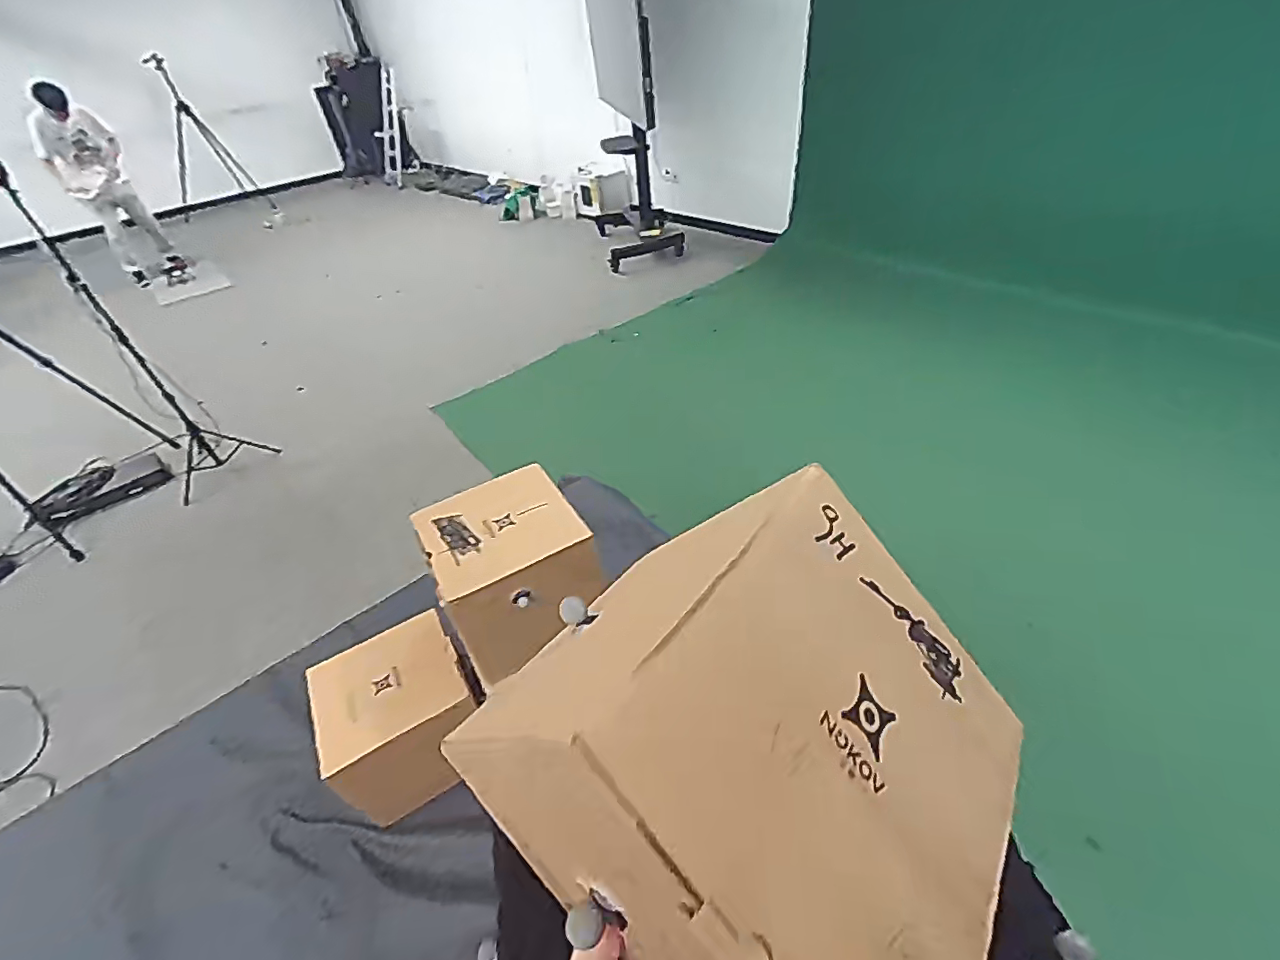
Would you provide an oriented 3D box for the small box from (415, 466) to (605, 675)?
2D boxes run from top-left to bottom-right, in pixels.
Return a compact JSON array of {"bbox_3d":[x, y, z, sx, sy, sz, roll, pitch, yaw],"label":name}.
[{"bbox_3d":[-0.162,0.117,0.702,0.179,0.176,0.168,-24,44,-20],"label":"small box"}]
